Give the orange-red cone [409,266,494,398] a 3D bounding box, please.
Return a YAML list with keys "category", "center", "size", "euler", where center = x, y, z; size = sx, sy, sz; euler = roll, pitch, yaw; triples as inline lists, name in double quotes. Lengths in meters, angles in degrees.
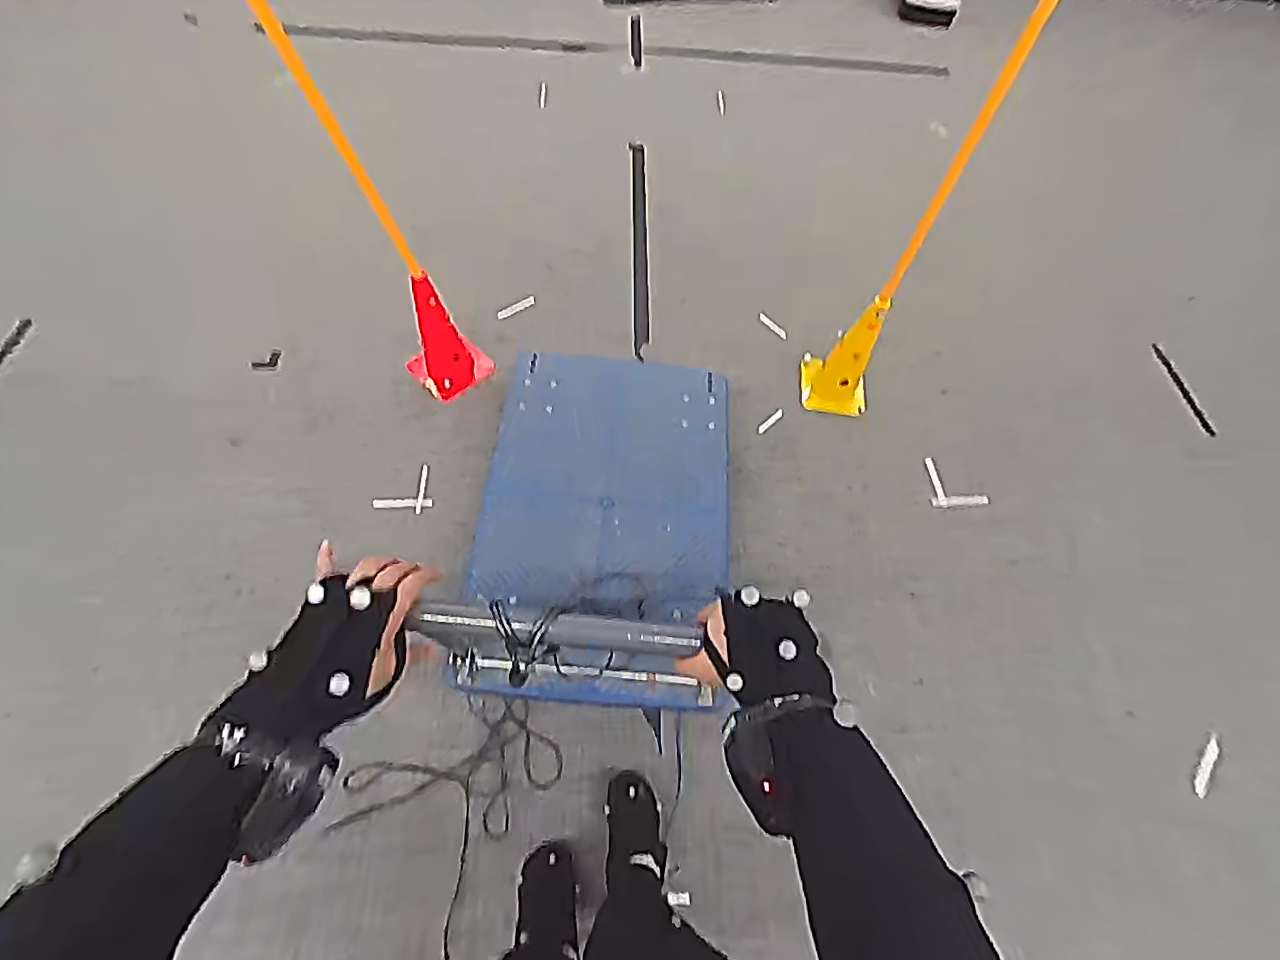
- category: "orange-red cone"
  center: [-0.554, -0.432, 1.488]
  size: [0.198, 0.360, 0.199]
  euler: [42, 65, 15]
